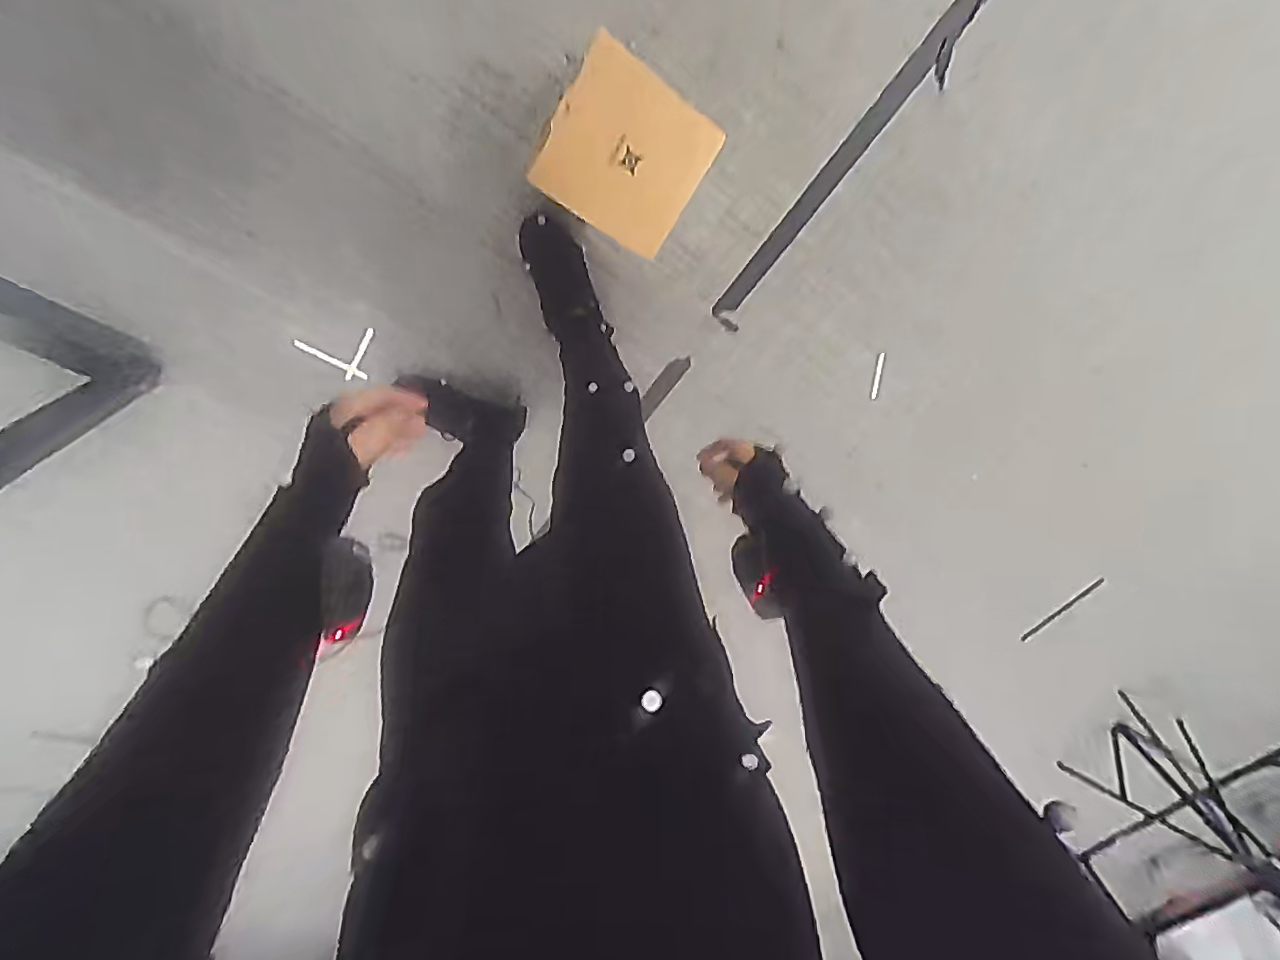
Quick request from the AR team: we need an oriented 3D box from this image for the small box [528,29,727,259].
[{"bbox_3d":[-0.024,-0.413,0.678,0.179,0.176,0.168,25,116,-23],"label":"small box"}]
